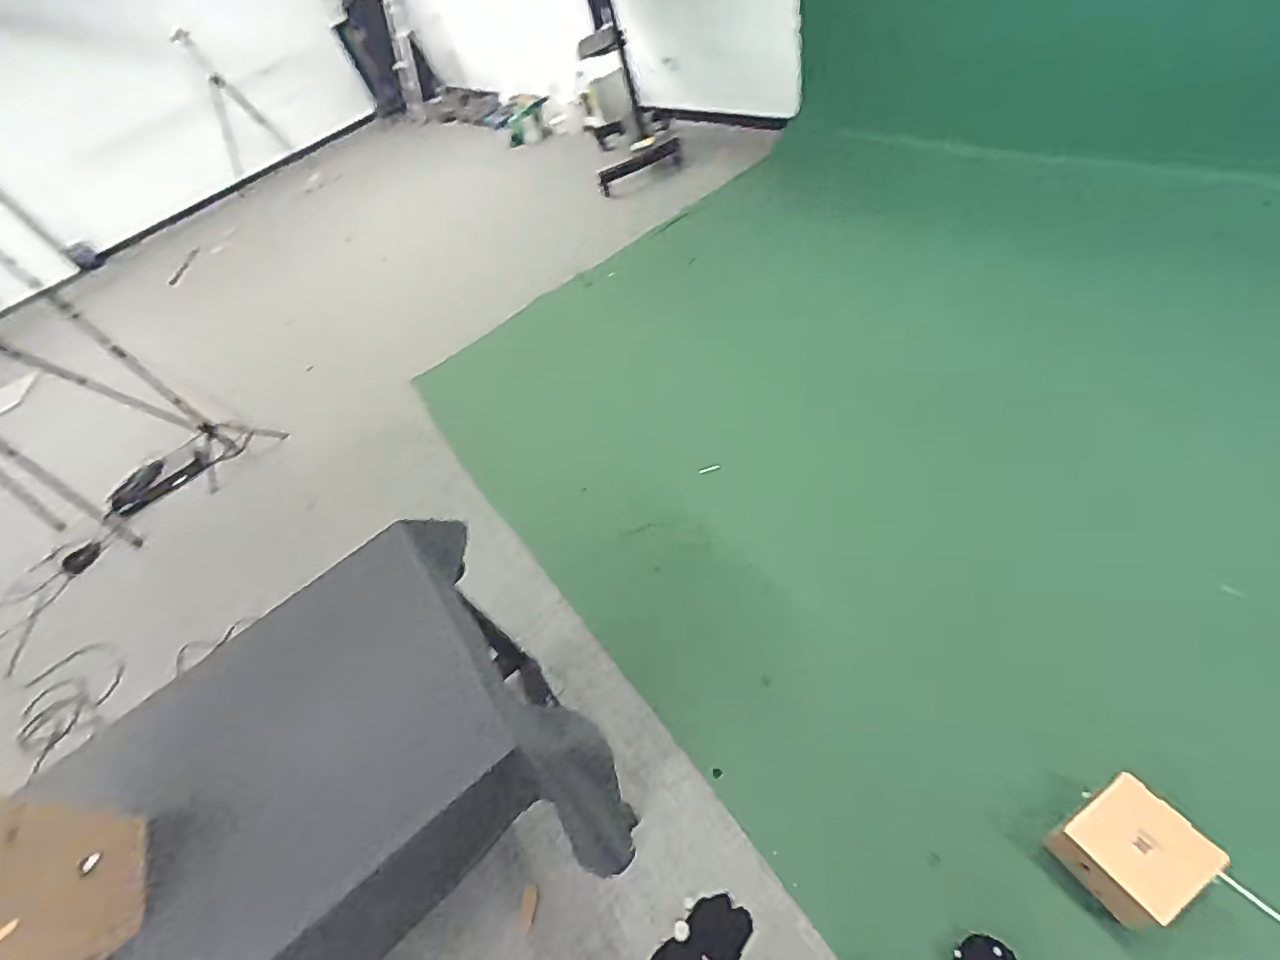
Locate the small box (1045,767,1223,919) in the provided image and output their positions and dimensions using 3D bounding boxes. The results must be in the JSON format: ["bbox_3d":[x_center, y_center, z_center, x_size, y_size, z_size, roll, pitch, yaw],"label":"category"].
[{"bbox_3d":[0.907,0.685,1.016,0.179,0.176,0.168,-33,48,-10],"label":"small box"}]
